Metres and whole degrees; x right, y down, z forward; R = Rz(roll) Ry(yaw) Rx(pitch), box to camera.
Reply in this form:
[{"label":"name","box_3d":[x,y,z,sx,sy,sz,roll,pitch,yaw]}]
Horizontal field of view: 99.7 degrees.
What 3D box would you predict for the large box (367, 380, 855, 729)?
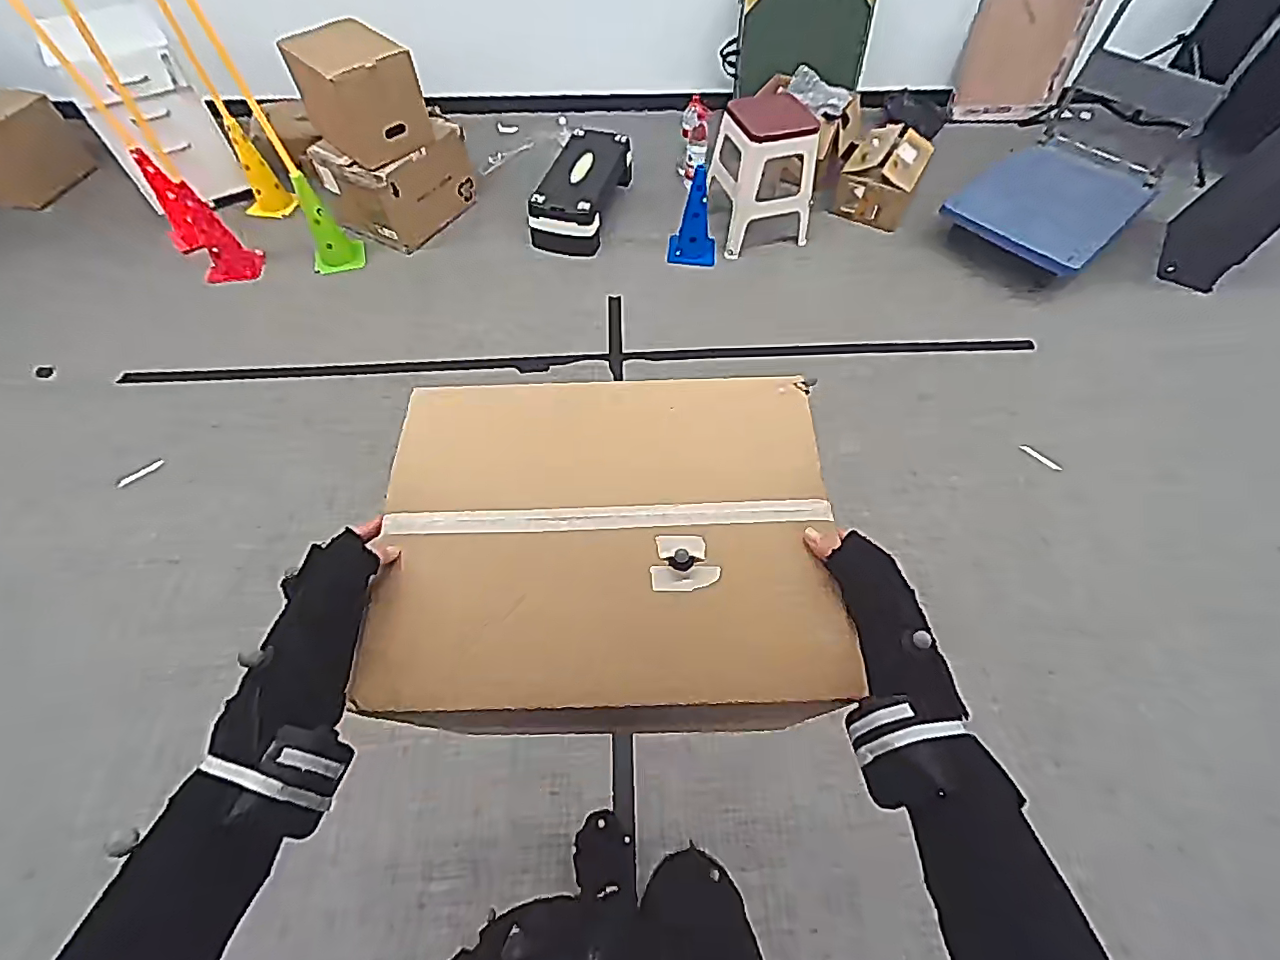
[{"label":"large box","box_3d":[-0.025,0.105,0.634,0.408,0.320,0.320,-1,62,1]}]
